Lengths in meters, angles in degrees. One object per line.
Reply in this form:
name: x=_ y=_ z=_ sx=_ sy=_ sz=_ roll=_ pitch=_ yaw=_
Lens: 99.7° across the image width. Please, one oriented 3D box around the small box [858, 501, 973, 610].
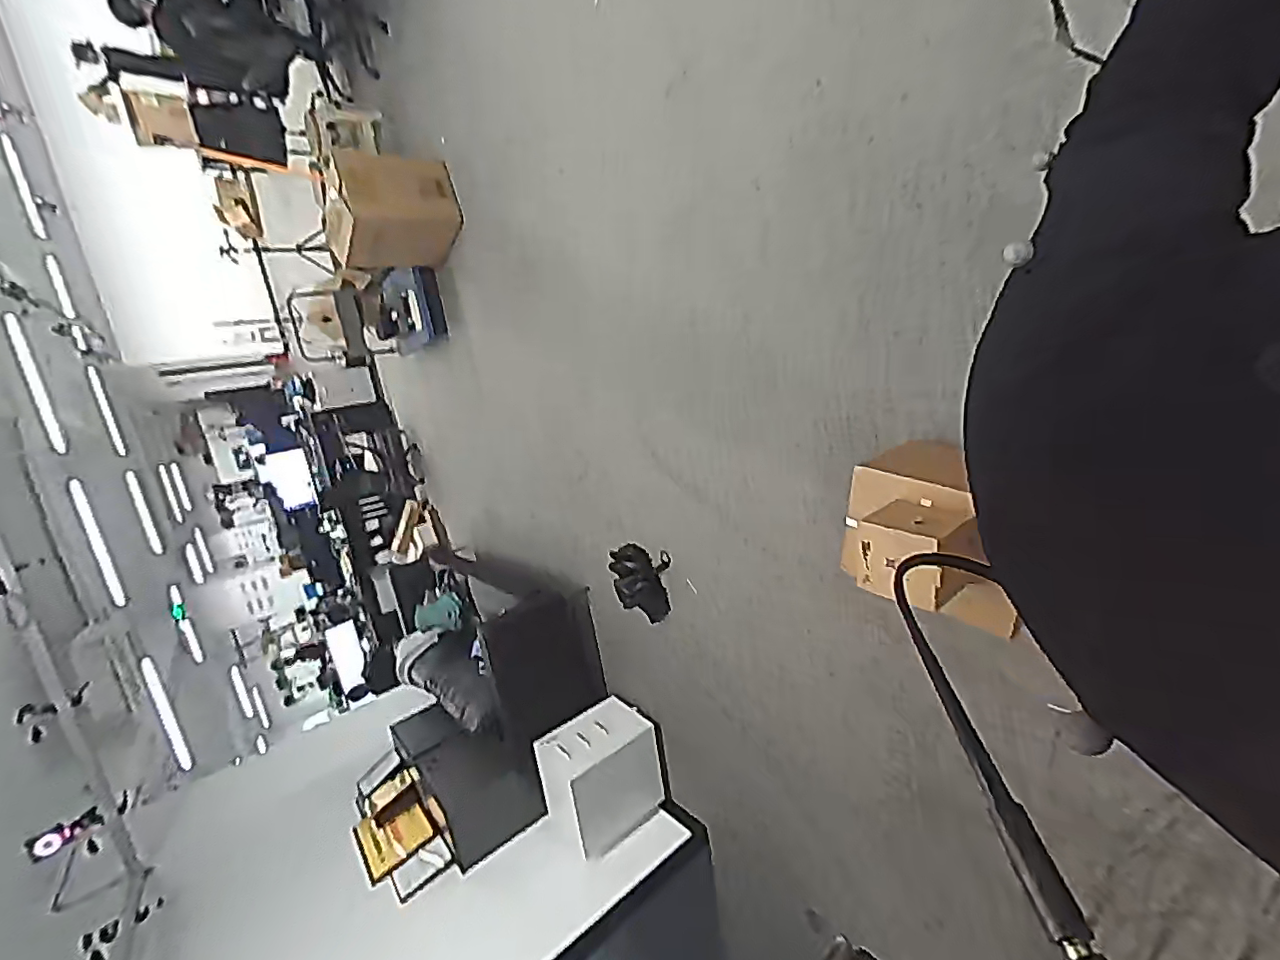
small box: x=0.605 y=0.154 z=1.188 sx=0.179 sy=0.176 sz=0.168 roll=14 pitch=116 yaw=49
